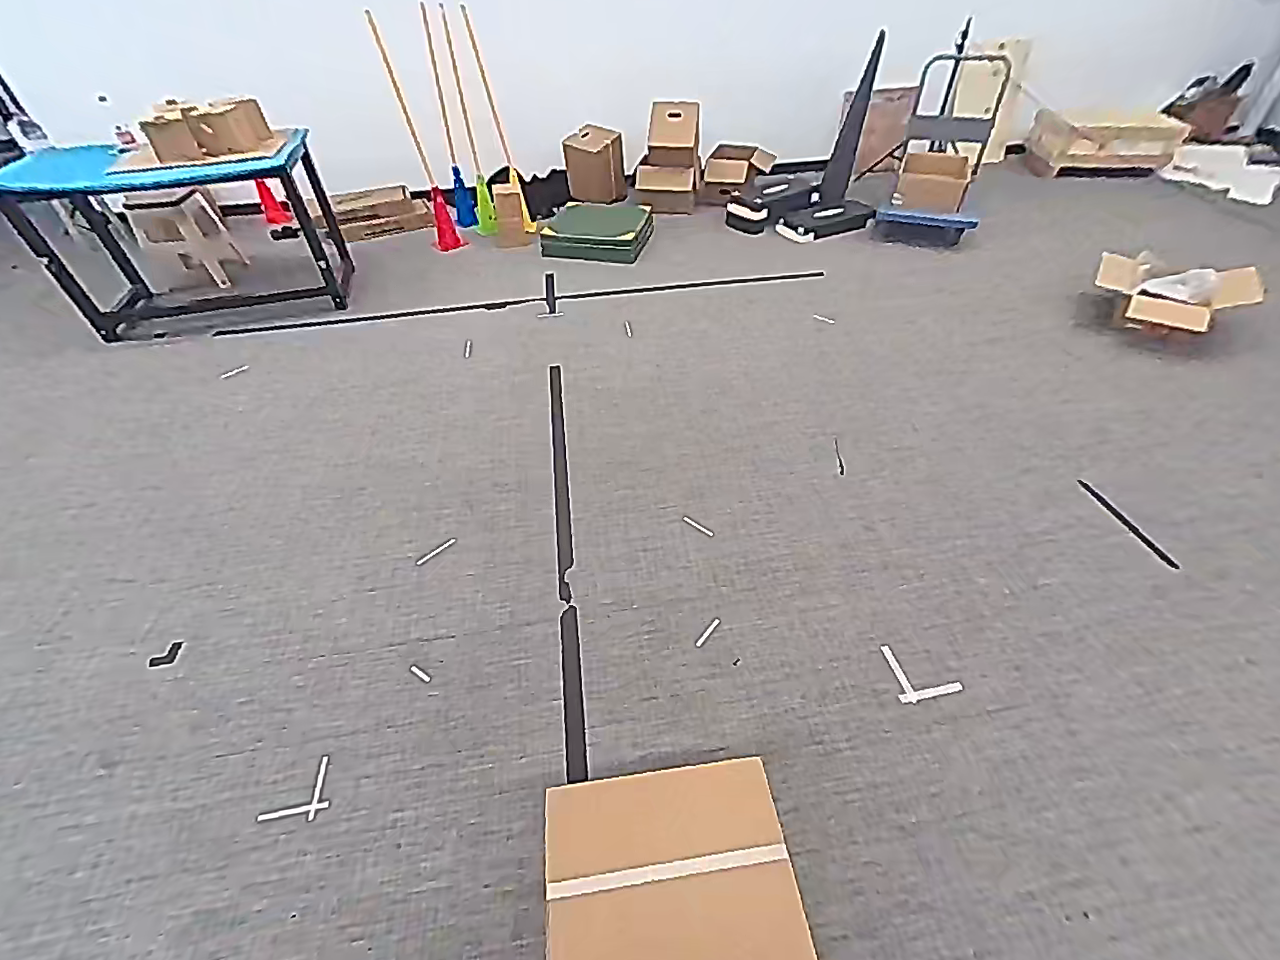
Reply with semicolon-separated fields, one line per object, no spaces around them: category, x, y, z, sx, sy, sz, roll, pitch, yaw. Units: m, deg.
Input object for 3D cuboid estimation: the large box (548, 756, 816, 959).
large box;0.051;0.756;0.999;0.408;0.320;0.320;-6;45;-5
